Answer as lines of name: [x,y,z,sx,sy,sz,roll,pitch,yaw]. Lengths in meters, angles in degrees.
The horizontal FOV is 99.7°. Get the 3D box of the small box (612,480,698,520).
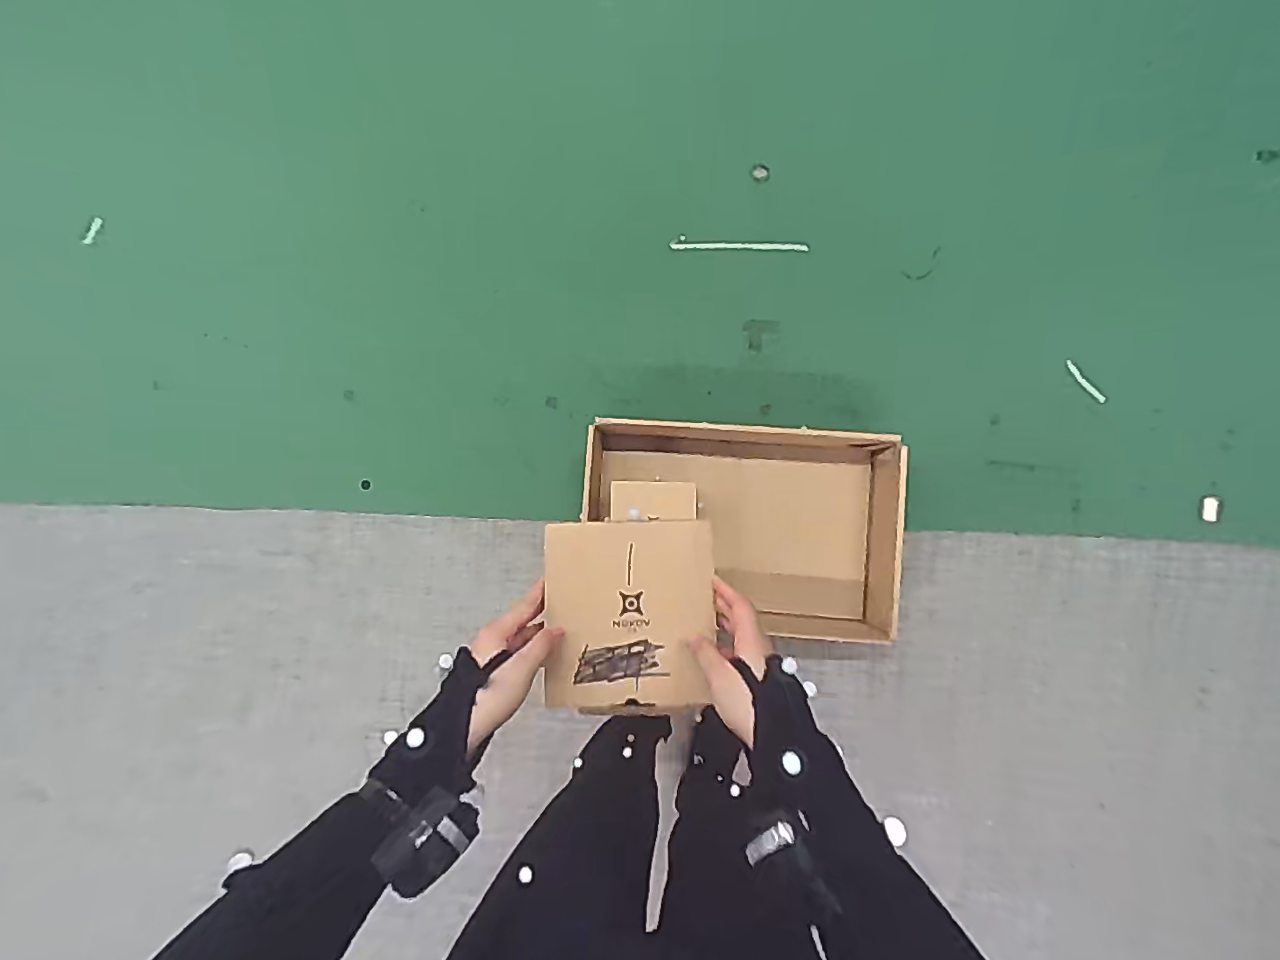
small box: [0.030,0.093,1.098,0.168,0.176,0.179,1,88,4]

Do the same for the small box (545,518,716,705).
small box: [-0.009,0.132,0.598,0.168,0.176,0.179,0,85,-2]
